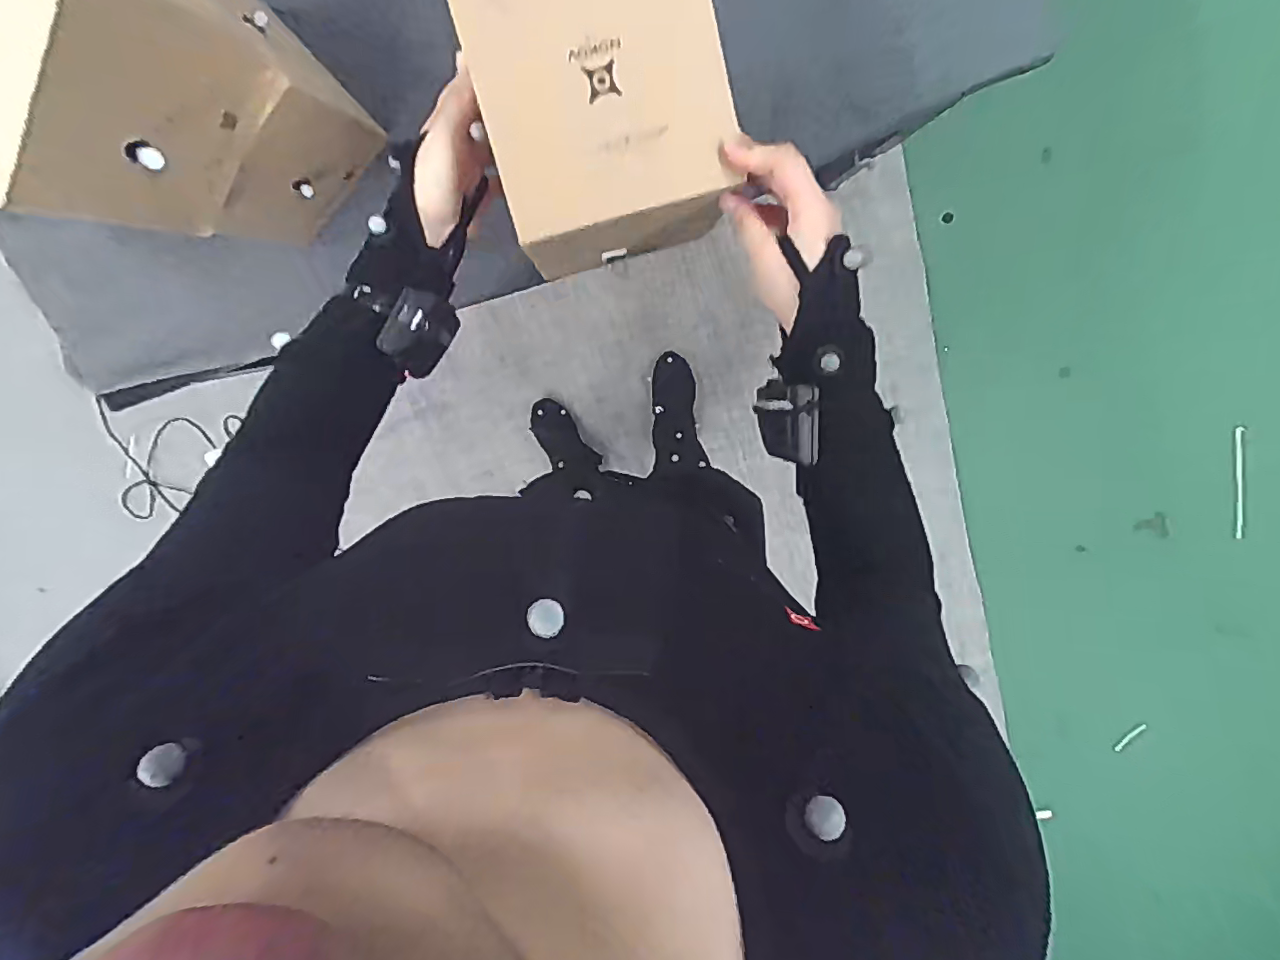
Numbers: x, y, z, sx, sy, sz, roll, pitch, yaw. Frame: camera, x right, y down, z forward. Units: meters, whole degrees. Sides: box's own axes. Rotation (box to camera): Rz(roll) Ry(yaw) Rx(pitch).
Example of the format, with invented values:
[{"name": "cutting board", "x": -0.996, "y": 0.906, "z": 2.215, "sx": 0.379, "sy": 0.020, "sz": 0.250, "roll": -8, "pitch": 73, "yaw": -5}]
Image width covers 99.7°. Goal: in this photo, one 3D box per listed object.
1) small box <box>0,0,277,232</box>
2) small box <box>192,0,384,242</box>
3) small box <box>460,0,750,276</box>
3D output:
[{"name": "small box", "x": -0.417, "y": -0.303, "z": 0.390, "sx": 0.179, "sy": 0.176, "sz": 0.168, "roll": 36, "pitch": 108, "yaw": -7}, {"name": "small box", "x": -0.401, "y": -0.362, "z": 0.541, "sx": 0.168, "sy": 0.176, "sz": 0.179, "roll": -41, "pitch": 101, "yaw": 15}, {"name": "small box", "x": -0.027, "y": -0.283, "z": 0.434, "sx": 0.168, "sy": 0.176, "sz": 0.179, "roll": -15, "pitch": 102, "yaw": 1}]
